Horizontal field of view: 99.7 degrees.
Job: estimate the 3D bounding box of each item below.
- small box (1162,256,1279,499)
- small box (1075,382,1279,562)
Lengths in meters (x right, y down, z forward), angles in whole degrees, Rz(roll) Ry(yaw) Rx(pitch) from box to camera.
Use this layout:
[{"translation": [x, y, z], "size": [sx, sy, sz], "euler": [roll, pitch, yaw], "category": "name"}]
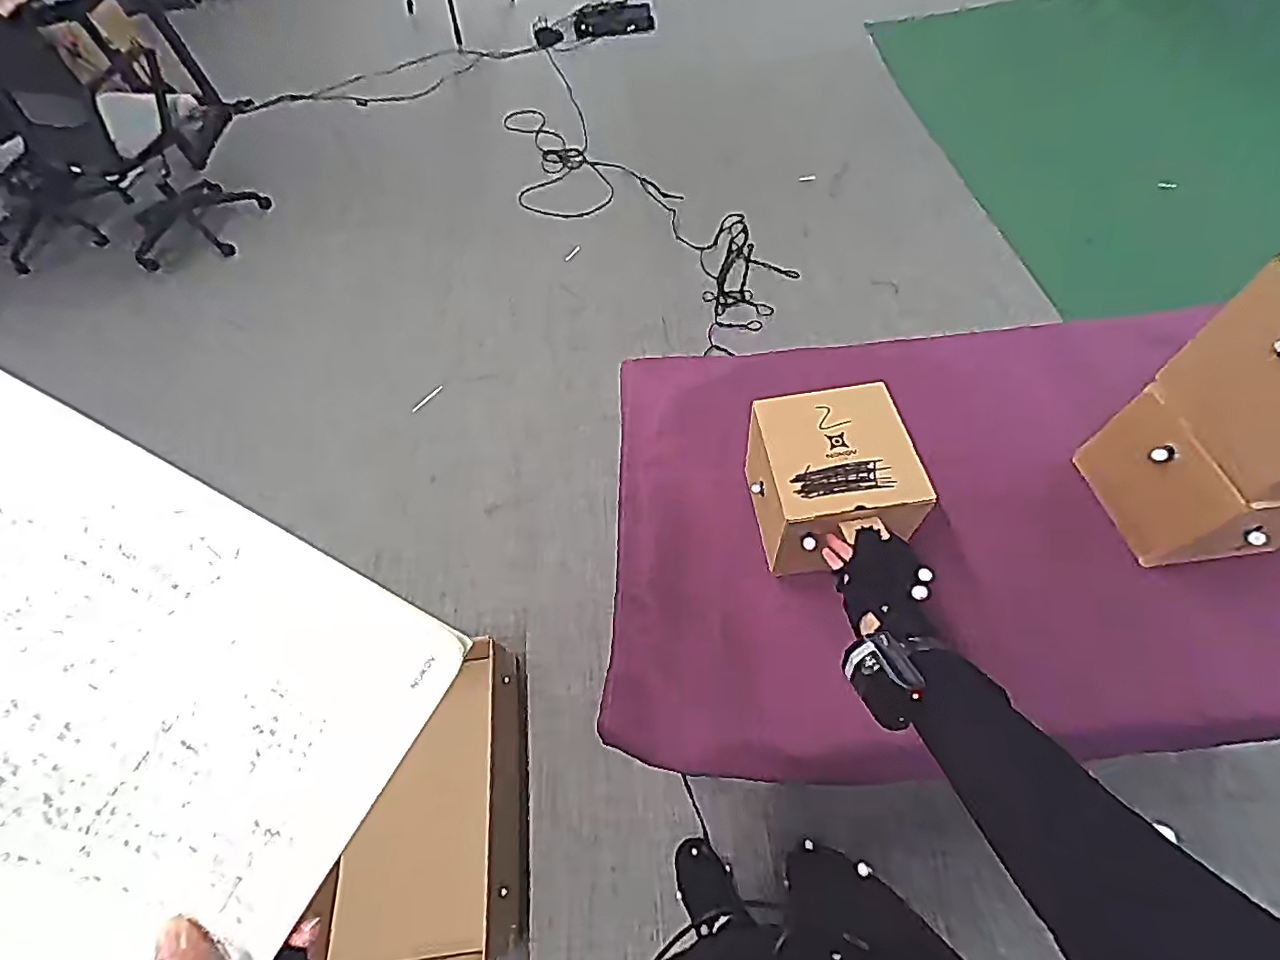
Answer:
[{"translation": [0.683, -0.101, 0.524], "size": [0.168, 0.176, 0.179], "euler": [-6, 58, 4], "category": "small box"}, {"translation": [0.698, -0.010, 0.662], "size": [0.168, 0.176, 0.179], "euler": [-8, 58, 2], "category": "small box"}]
